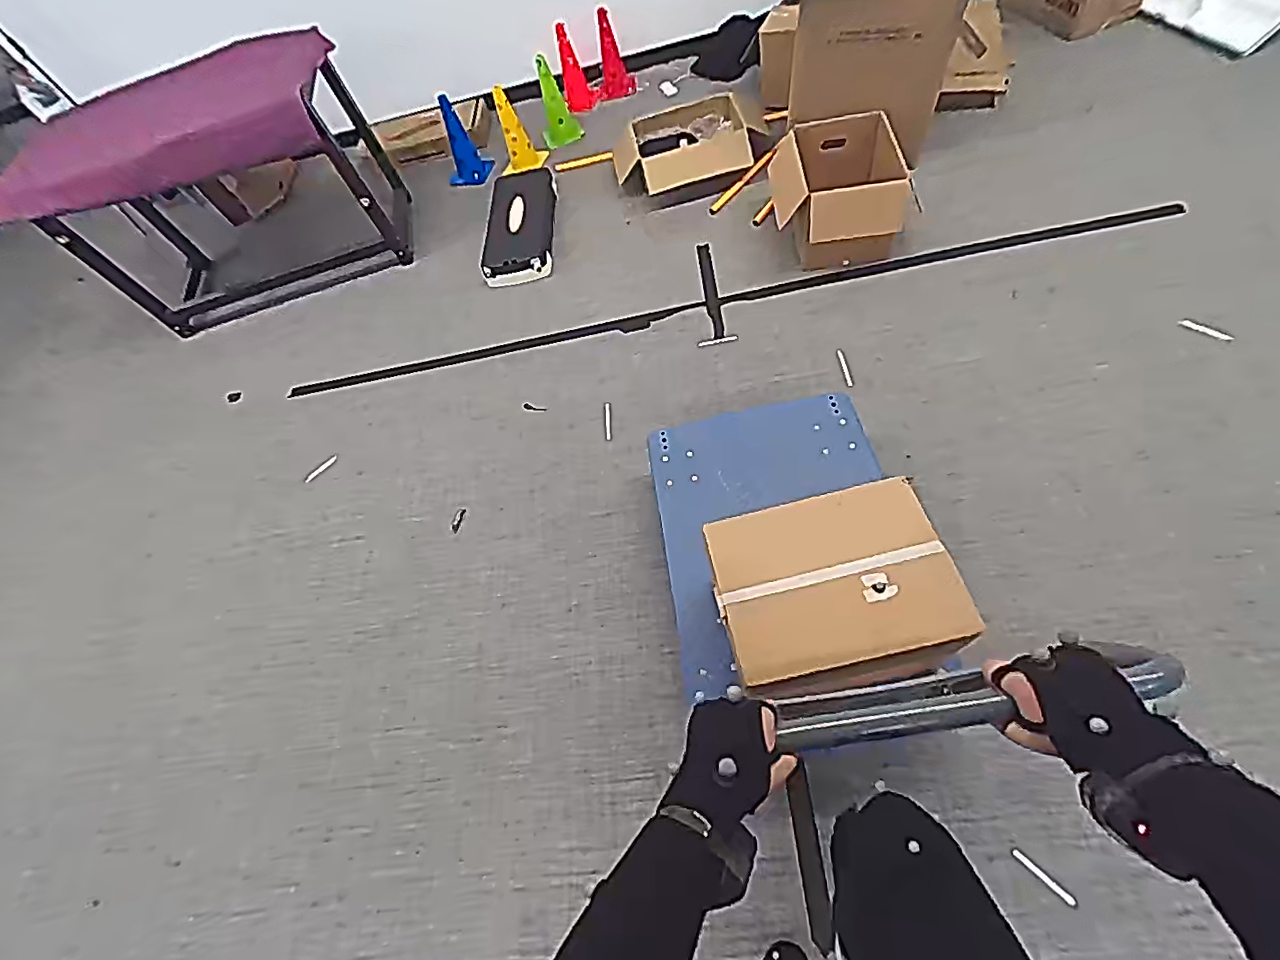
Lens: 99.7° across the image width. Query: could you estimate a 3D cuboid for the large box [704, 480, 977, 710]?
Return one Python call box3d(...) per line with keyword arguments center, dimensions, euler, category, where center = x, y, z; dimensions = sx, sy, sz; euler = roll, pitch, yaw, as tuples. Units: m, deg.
box3d(center=(0.371, 0.250, 1.115), dimensions=(0.408, 0.320, 0.320), euler=(-14, 59, 3), category="large box")
